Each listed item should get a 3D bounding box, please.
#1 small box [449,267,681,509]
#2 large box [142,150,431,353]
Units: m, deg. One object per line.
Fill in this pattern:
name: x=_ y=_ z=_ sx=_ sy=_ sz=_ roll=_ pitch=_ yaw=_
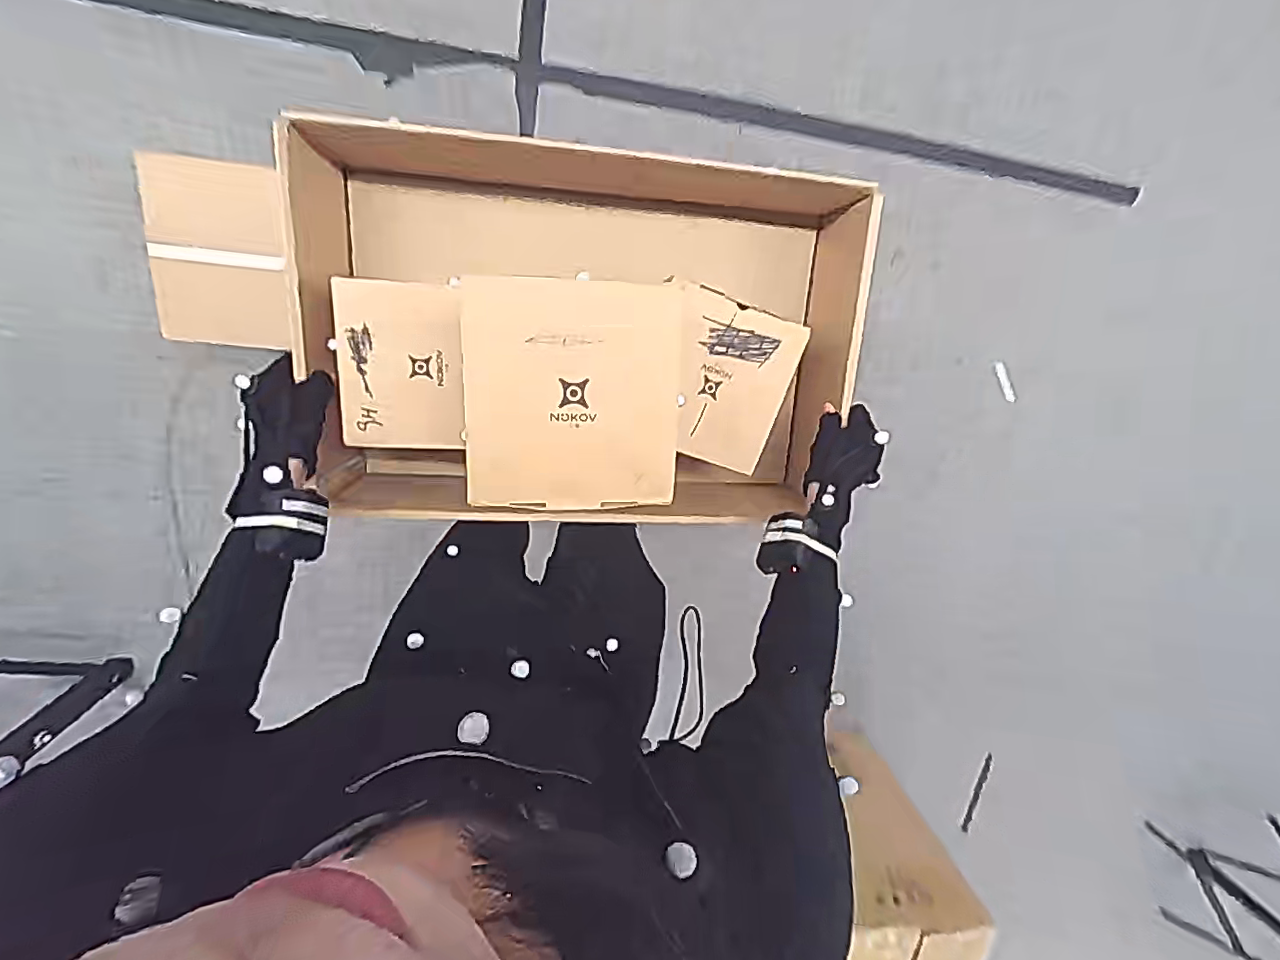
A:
small box: x=-0.064 y=-0.082 z=0.477 sx=0.168 sy=0.176 sz=0.179 roll=-1 pitch=104 yaw=-9
large box: x=-0.674 y=-0.440 z=1.115 sx=0.408 sy=0.320 sz=0.320 roll=3 pitch=107 yaw=-9
